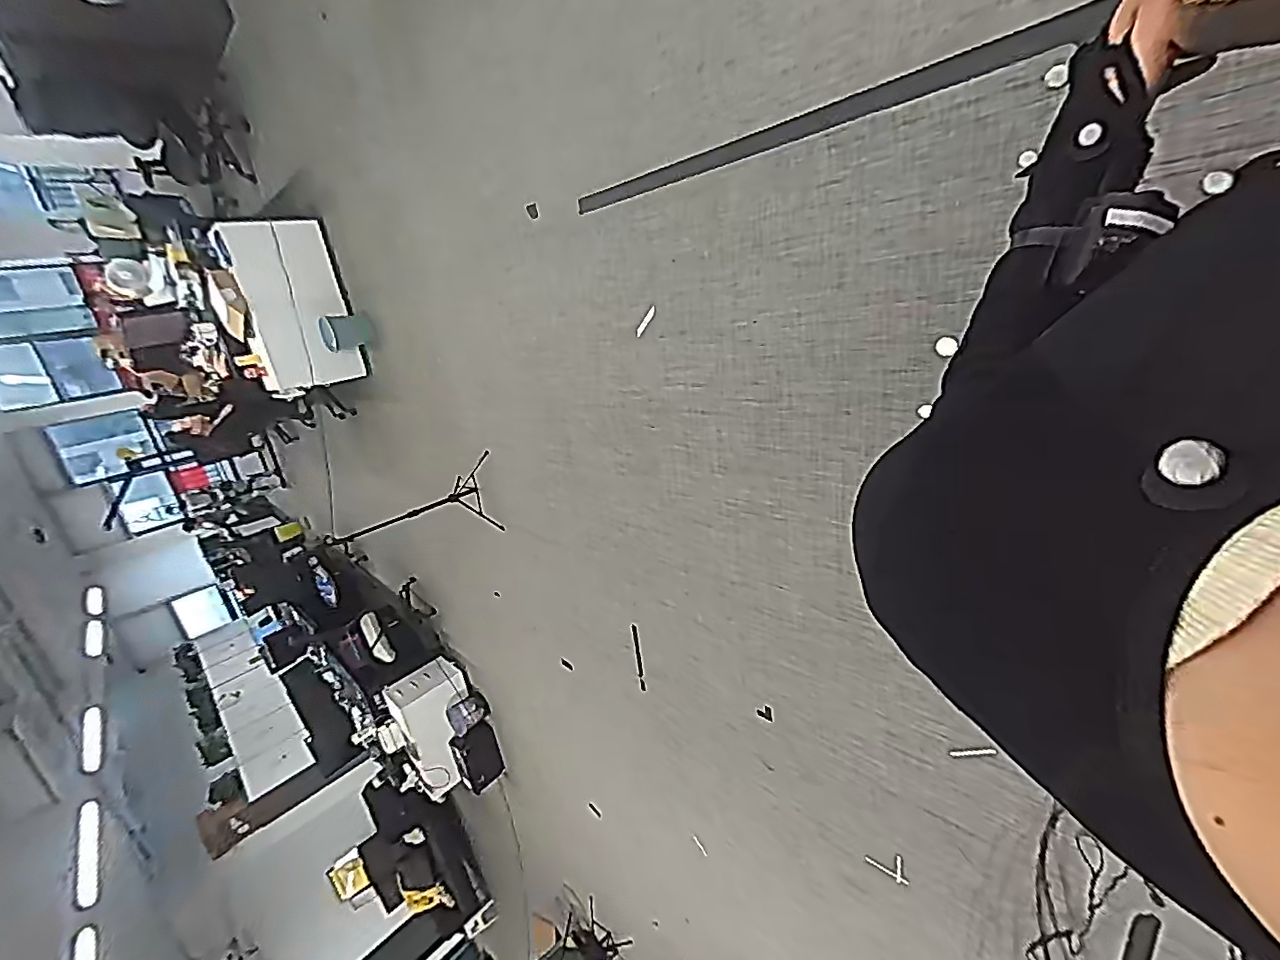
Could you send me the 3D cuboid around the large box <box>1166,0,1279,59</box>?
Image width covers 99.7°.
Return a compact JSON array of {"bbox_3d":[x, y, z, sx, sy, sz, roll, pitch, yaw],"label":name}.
[{"bbox_3d":[0.421,-0.331,0.106,0.408,0.320,0.320,15,127,36],"label":"large box"}]
